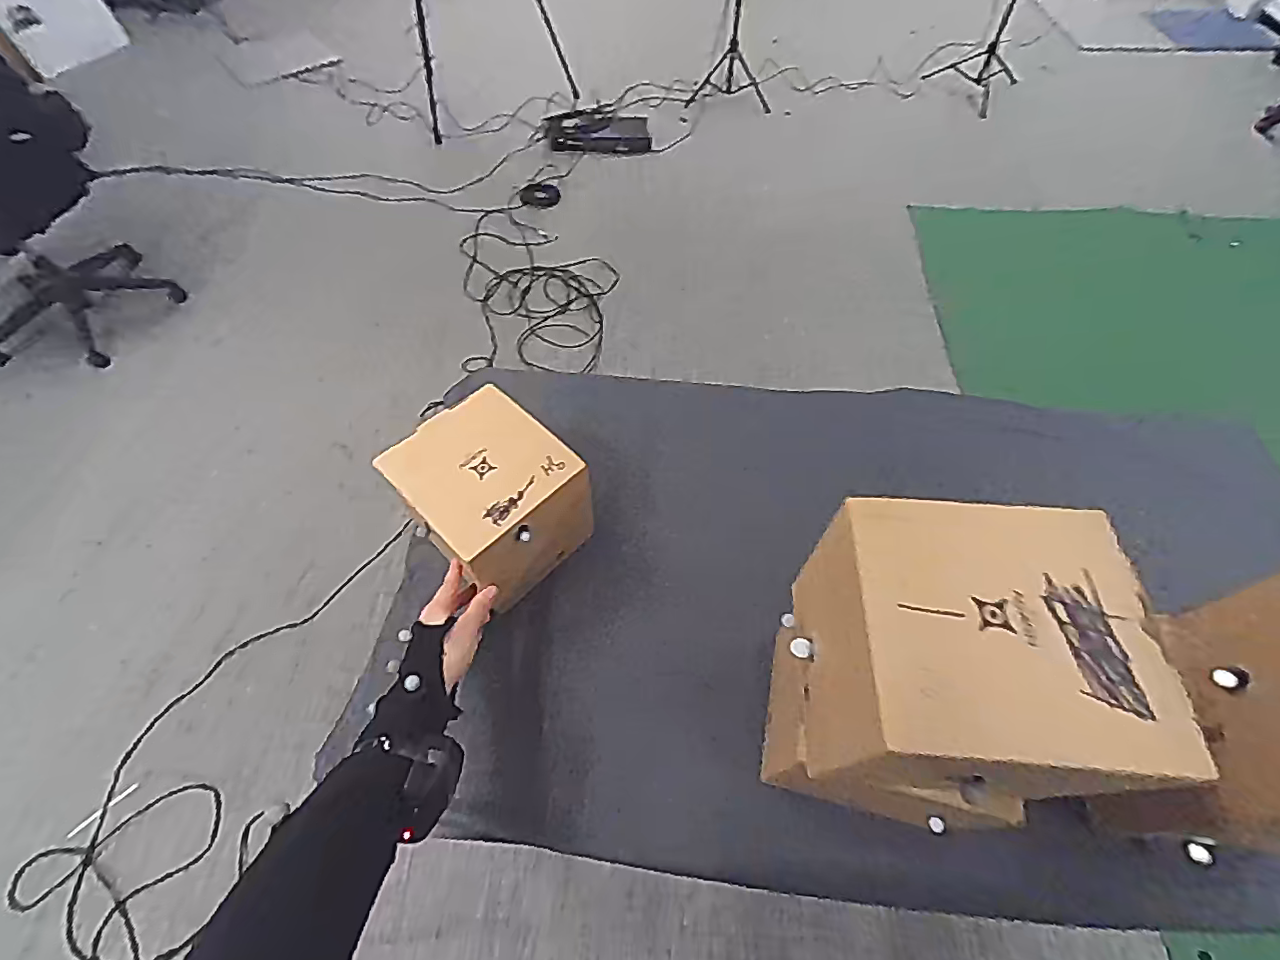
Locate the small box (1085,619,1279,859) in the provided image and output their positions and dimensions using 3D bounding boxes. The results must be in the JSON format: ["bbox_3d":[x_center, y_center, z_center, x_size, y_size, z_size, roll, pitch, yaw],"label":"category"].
[{"bbox_3d":[0.542,0.249,0.514,0.168,0.176,0.179,3,57,4],"label":"small box"}]

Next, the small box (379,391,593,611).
[{"bbox_3d":[-0.176,0.031,0.666,0.179,0.176,0.168,39,66,22],"label":"small box"}]

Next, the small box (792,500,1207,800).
[{"bbox_3d":[0.223,0.132,0.399,0.179,0.176,0.168,3,56,3],"label":"small box"}]

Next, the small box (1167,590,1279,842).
[{"bbox_3d":[0.537,0.171,0.371,0.179,0.176,0.168,12,57,10],"label":"small box"}]
